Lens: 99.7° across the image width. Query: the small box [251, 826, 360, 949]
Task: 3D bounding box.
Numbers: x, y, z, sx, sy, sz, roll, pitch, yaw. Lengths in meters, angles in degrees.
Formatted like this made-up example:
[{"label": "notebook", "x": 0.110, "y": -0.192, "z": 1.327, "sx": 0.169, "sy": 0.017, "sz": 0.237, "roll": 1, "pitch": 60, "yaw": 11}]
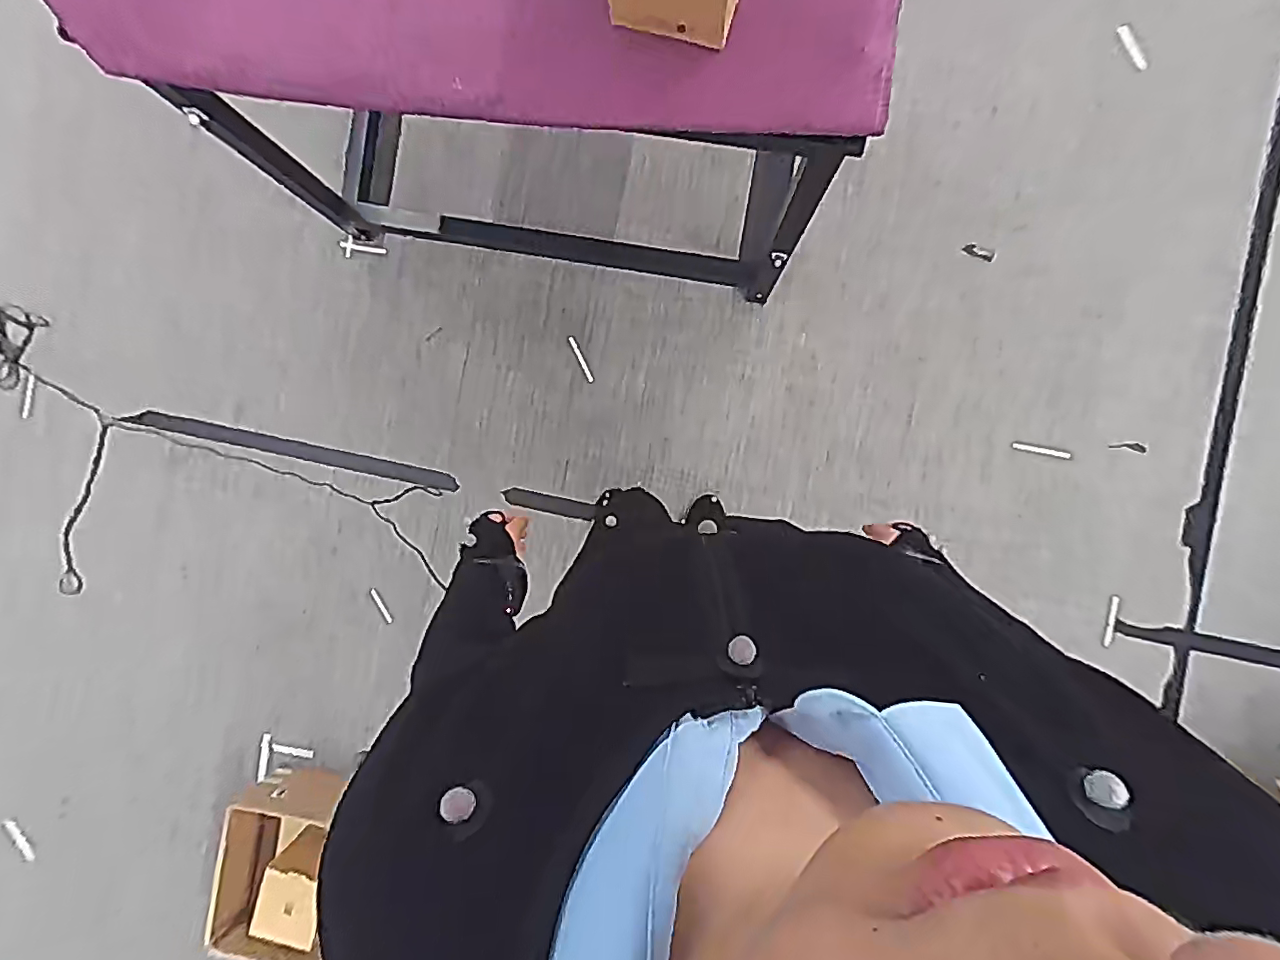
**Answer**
[{"label": "small box", "x": -0.876, "y": 1.072, "z": 1.434, "sx": 0.168, "sy": 0.176, "sz": 0.179, "roll": 15, "pitch": 91, "yaw": 2}]
